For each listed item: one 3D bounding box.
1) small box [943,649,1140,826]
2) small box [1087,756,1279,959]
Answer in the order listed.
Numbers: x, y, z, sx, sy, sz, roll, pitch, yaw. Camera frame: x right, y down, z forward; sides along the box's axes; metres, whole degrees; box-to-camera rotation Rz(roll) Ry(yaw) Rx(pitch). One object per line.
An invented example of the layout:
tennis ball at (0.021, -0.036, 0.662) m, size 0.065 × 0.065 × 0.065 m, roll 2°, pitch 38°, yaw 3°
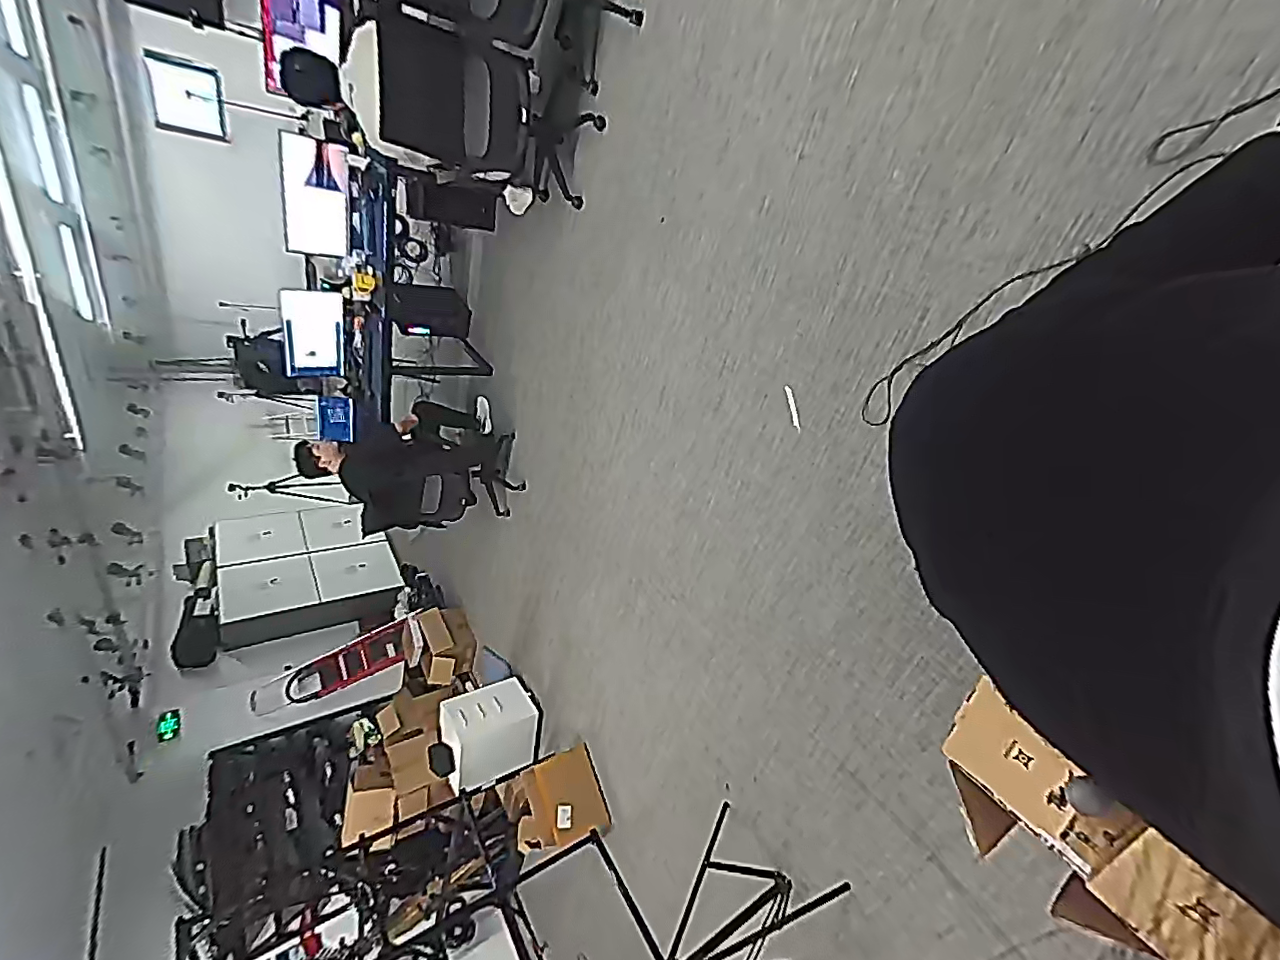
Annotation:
small box at (0.637, 0.393, 0.864) m, size 0.179 × 0.176 × 0.168 m, roll 37°, pitch 121°, yaw 46°
small box at (0.757, 0.515, 0.722) m, size 0.168 × 0.176 × 0.179 m, roll 39°, pitch 122°, yaw 40°
